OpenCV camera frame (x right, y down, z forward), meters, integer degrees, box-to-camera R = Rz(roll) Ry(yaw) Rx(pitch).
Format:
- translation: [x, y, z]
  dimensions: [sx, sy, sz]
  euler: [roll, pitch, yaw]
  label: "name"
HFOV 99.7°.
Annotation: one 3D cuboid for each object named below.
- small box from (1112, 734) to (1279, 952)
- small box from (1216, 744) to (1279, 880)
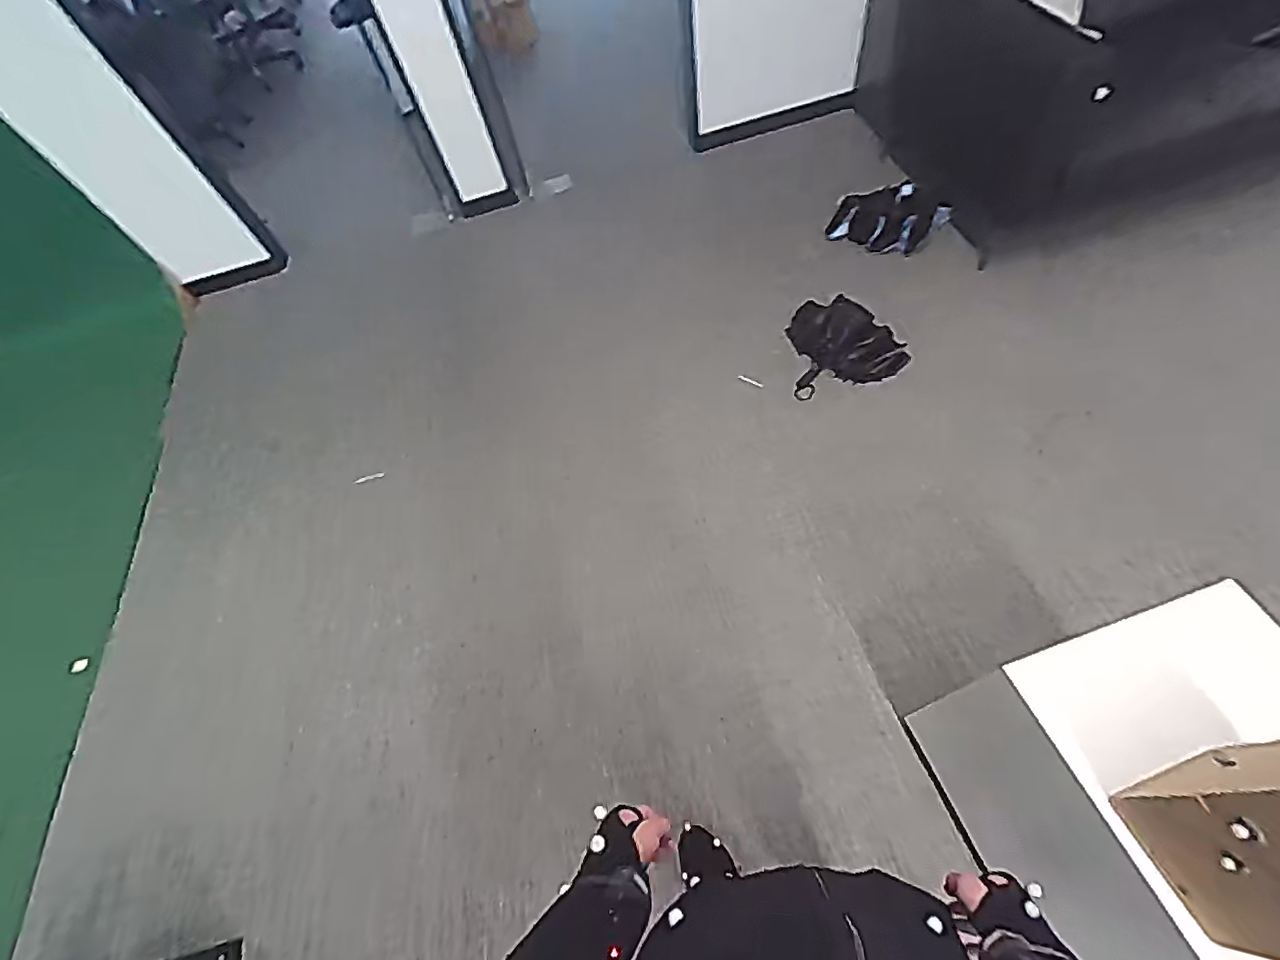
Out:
- translation: [0.726, 0.414, 0.632]
  dimensions: [0.179, 0.176, 0.168]
  euler: [-21, 57, -6]
  label: "small box"
- translation: [0.707, 0.327, 0.493]
  dimensions: [0.179, 0.176, 0.168]
  euler: [-21, 58, -6]
  label: "small box"
